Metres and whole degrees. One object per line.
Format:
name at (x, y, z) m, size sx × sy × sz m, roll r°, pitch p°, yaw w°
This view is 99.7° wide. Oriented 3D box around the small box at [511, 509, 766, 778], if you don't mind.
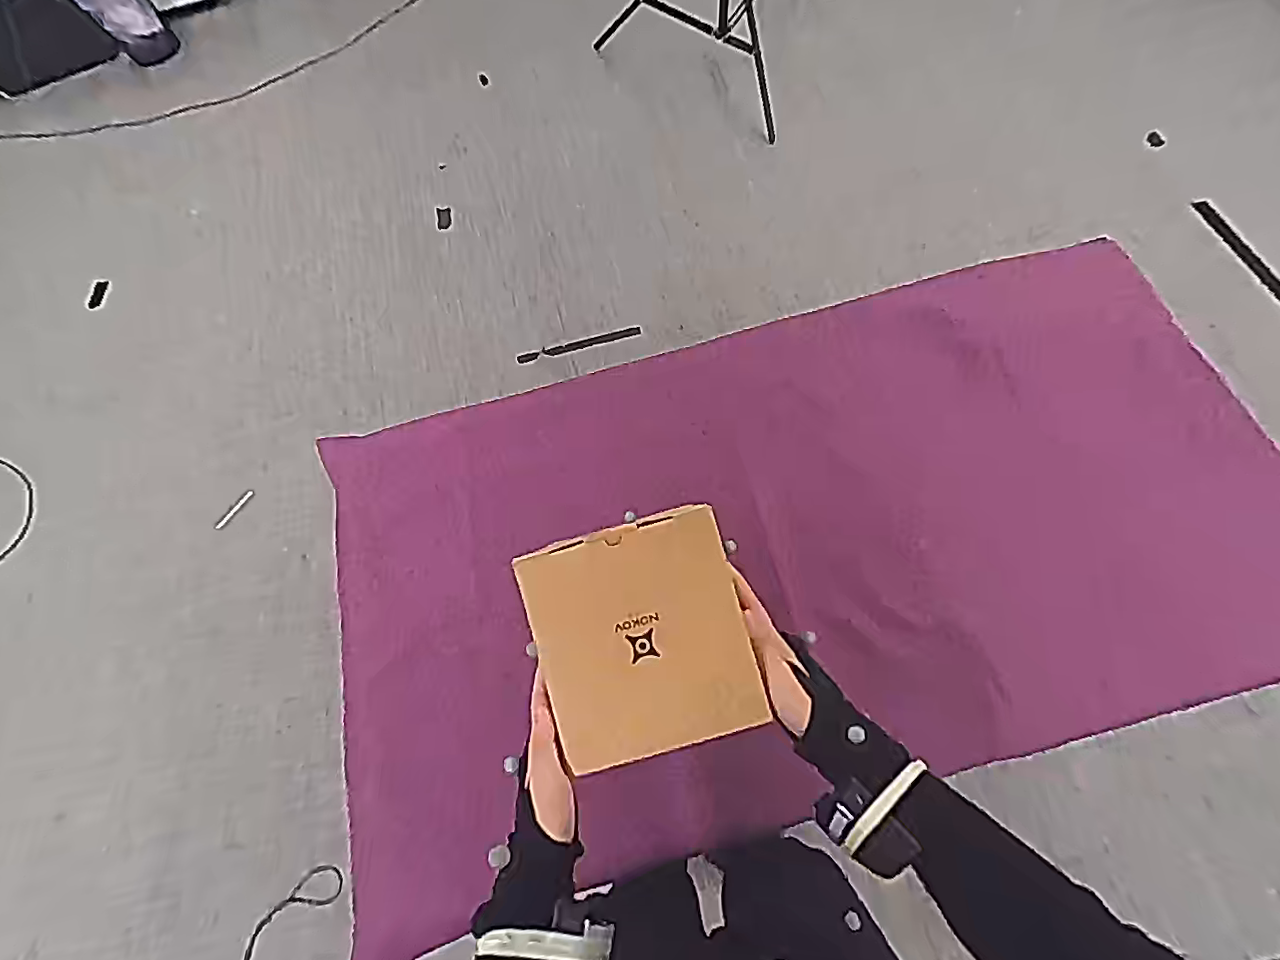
small box at (0.001, 0.130, 0.500) m, size 0.168 × 0.176 × 0.179 m, roll -16°, pitch 87°, yaw 1°
